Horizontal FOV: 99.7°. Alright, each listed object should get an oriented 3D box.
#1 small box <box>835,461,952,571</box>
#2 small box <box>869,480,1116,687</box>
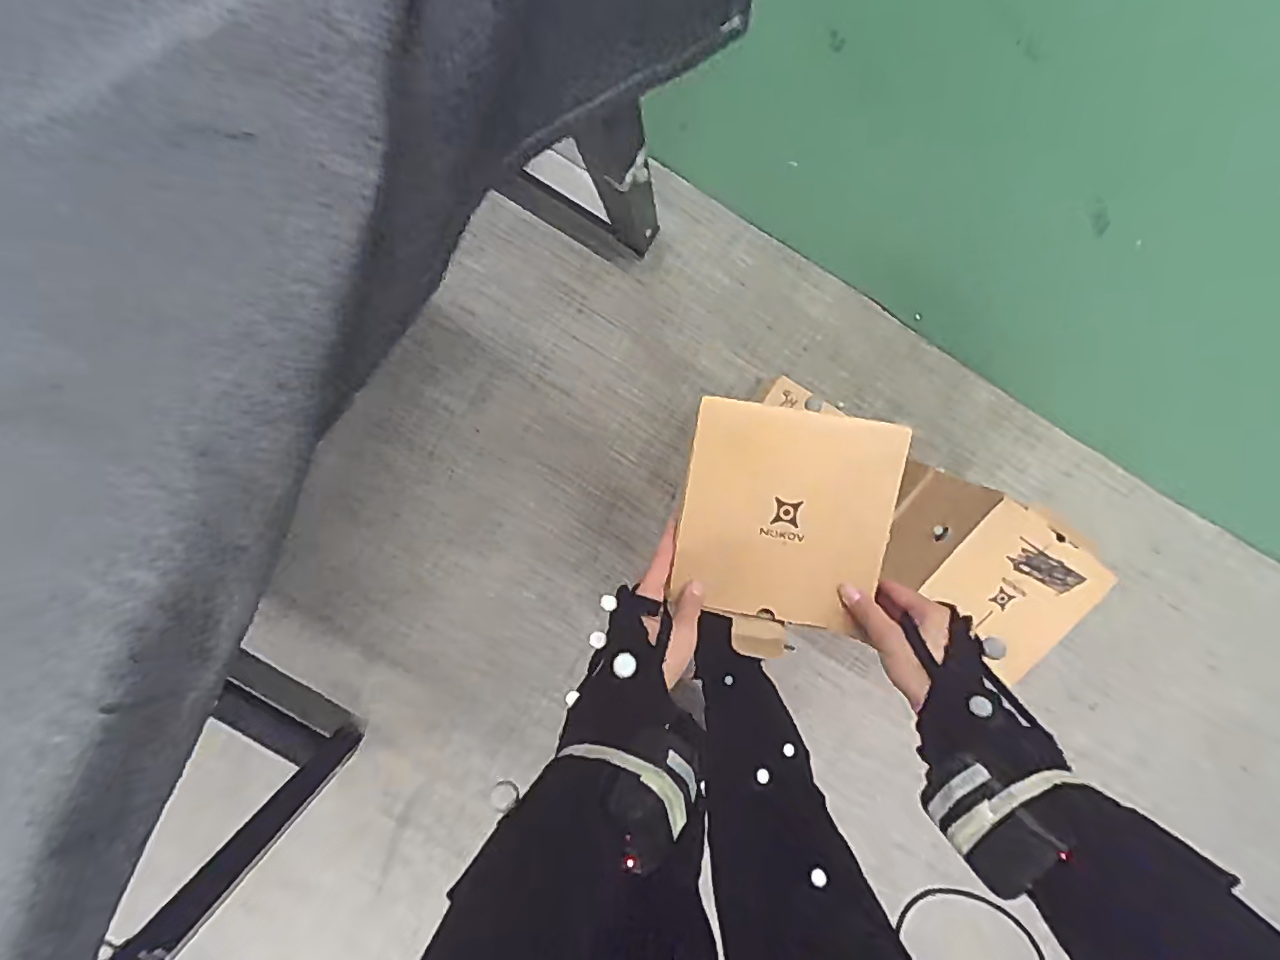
[{"bbox_3d":[0.441,0.087,0.863,0.168,0.176,0.179,37,101,-1],"label":"small box"},{"bbox_3d":[0.432,0.119,0.702,0.168,0.176,0.179,37,101,-1],"label":"small box"}]
